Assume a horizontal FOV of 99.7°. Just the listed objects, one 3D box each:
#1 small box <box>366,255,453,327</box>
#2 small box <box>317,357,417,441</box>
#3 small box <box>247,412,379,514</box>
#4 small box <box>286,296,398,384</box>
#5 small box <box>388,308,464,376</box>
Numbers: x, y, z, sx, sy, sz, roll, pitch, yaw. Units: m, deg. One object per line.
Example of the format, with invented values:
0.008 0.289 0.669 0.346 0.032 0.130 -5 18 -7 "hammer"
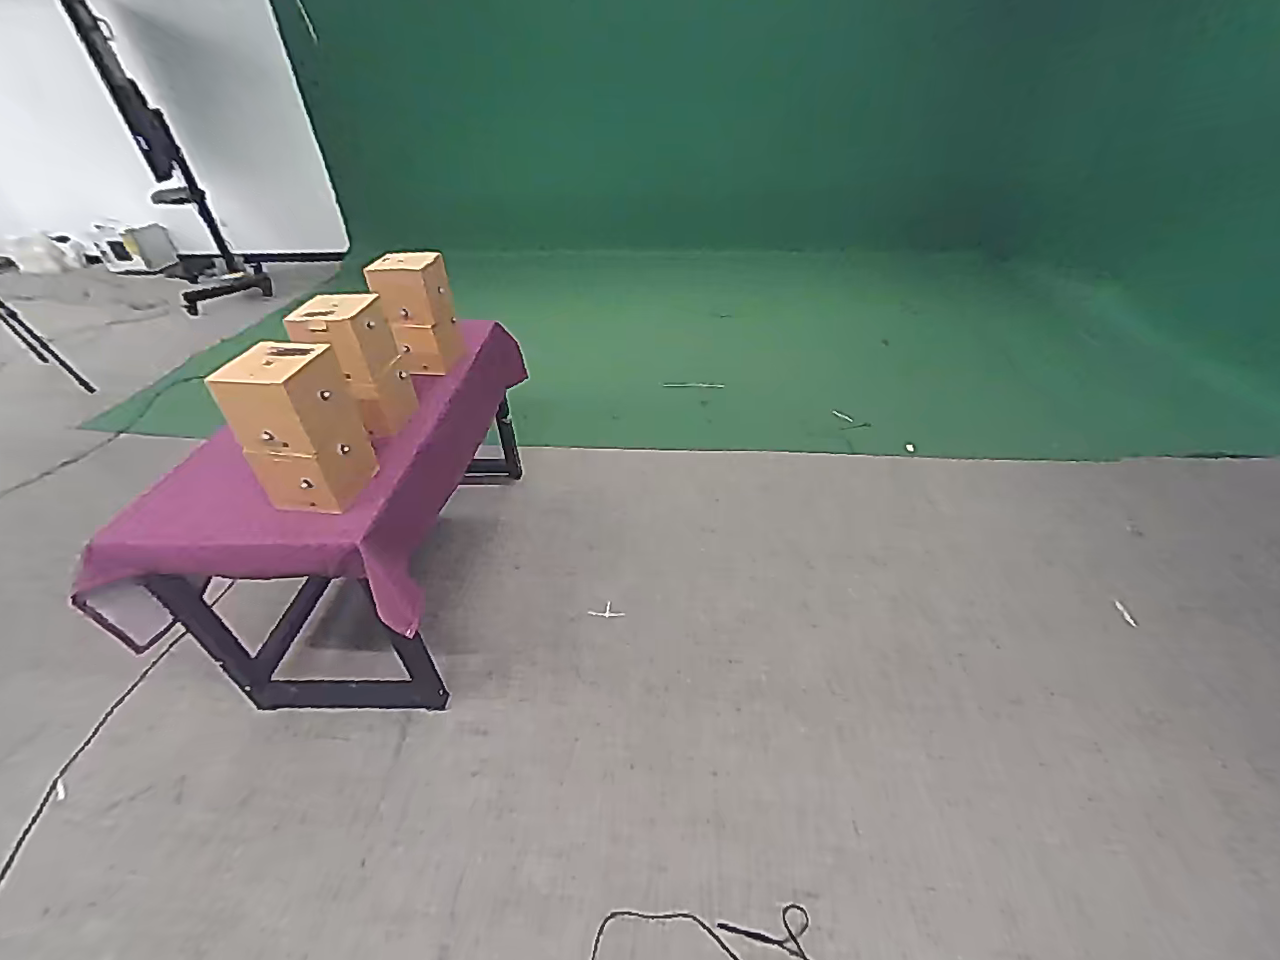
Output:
-0.701 -0.582 1.668 0.179 0.176 0.168 2 38 5 "small box"
-0.734 -0.226 1.481 0.168 0.176 0.179 1 38 6 "small box"
-0.738 -0.039 1.246 0.168 0.176 0.179 4 38 8 "small box"
-0.747 -0.356 1.381 0.168 0.176 0.179 0 37 3 "small box"
-0.695 -0.451 1.767 0.168 0.176 0.179 4 38 8 "small box"
